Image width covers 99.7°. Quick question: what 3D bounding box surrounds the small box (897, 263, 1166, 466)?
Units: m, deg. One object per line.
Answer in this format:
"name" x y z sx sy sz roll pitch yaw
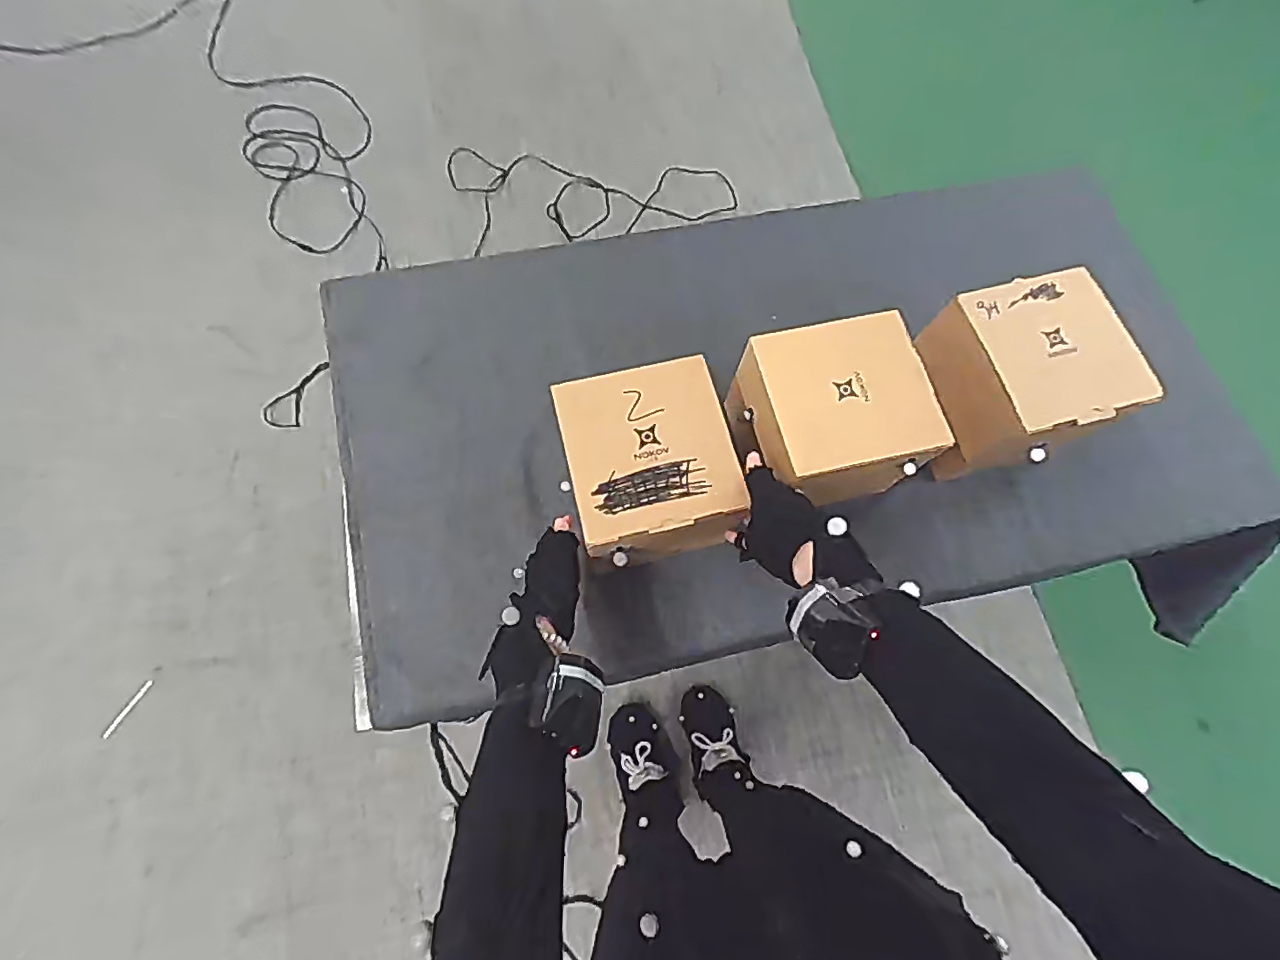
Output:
"small box" 0.452 -0.126 0.658 0.168 0.176 0.179 -12 74 -7
